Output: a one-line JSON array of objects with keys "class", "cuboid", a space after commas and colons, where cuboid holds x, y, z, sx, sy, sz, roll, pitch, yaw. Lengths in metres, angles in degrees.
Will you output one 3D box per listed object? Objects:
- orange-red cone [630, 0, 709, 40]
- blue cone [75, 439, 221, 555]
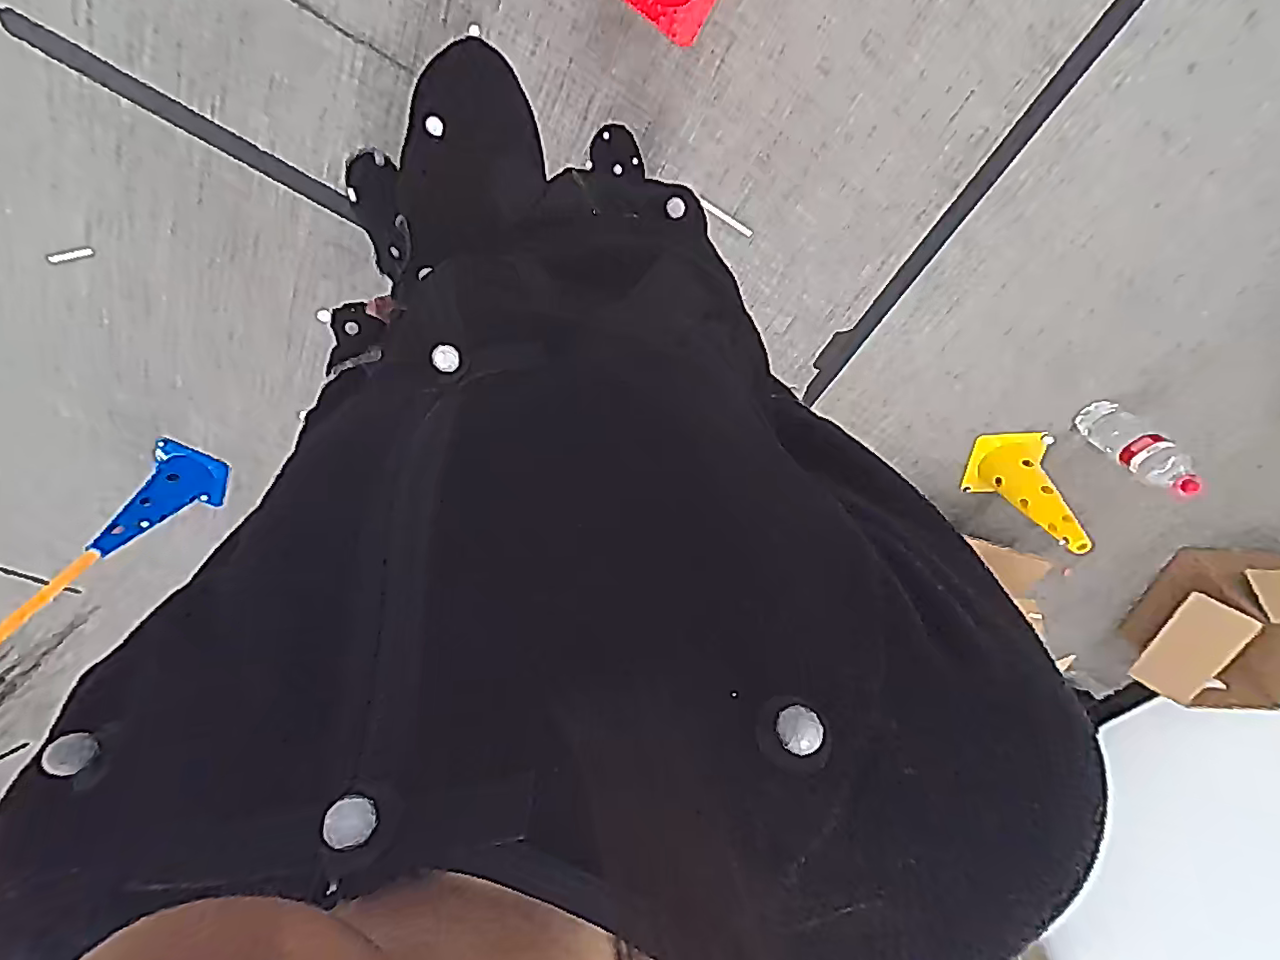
[{"class": "orange-red cone", "cuboid": [0.052, -0.827, 0.804, 0.199, 0.360, 0.198, 28, 122, -18]}, {"class": "blue cone", "cuboid": [-1.394, 0.073, 1.519, 0.192, 0.380, 0.193, 29, 121, -17]}]
